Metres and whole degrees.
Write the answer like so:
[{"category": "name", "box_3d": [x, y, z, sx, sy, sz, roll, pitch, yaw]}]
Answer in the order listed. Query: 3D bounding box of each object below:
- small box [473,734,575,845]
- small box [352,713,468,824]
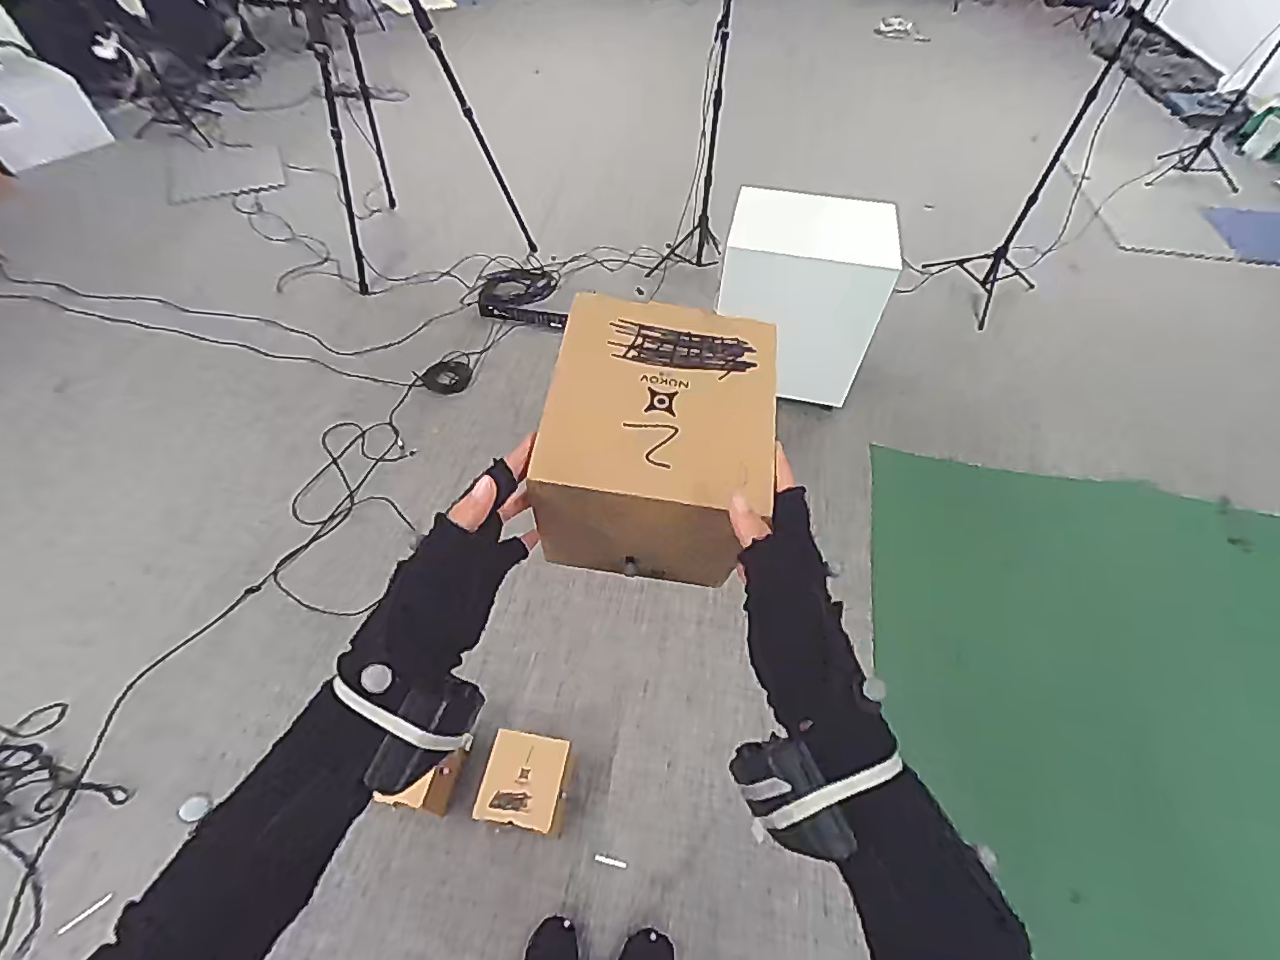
[{"category": "small box", "box_3d": [-0.247, 0.693, 1.205, 0.168, 0.176, 0.179, 8, 51, 6]}, {"category": "small box", "box_3d": [-0.509, 0.659, 1.232, 0.168, 0.176, 0.179, 8, 52, 7]}]
